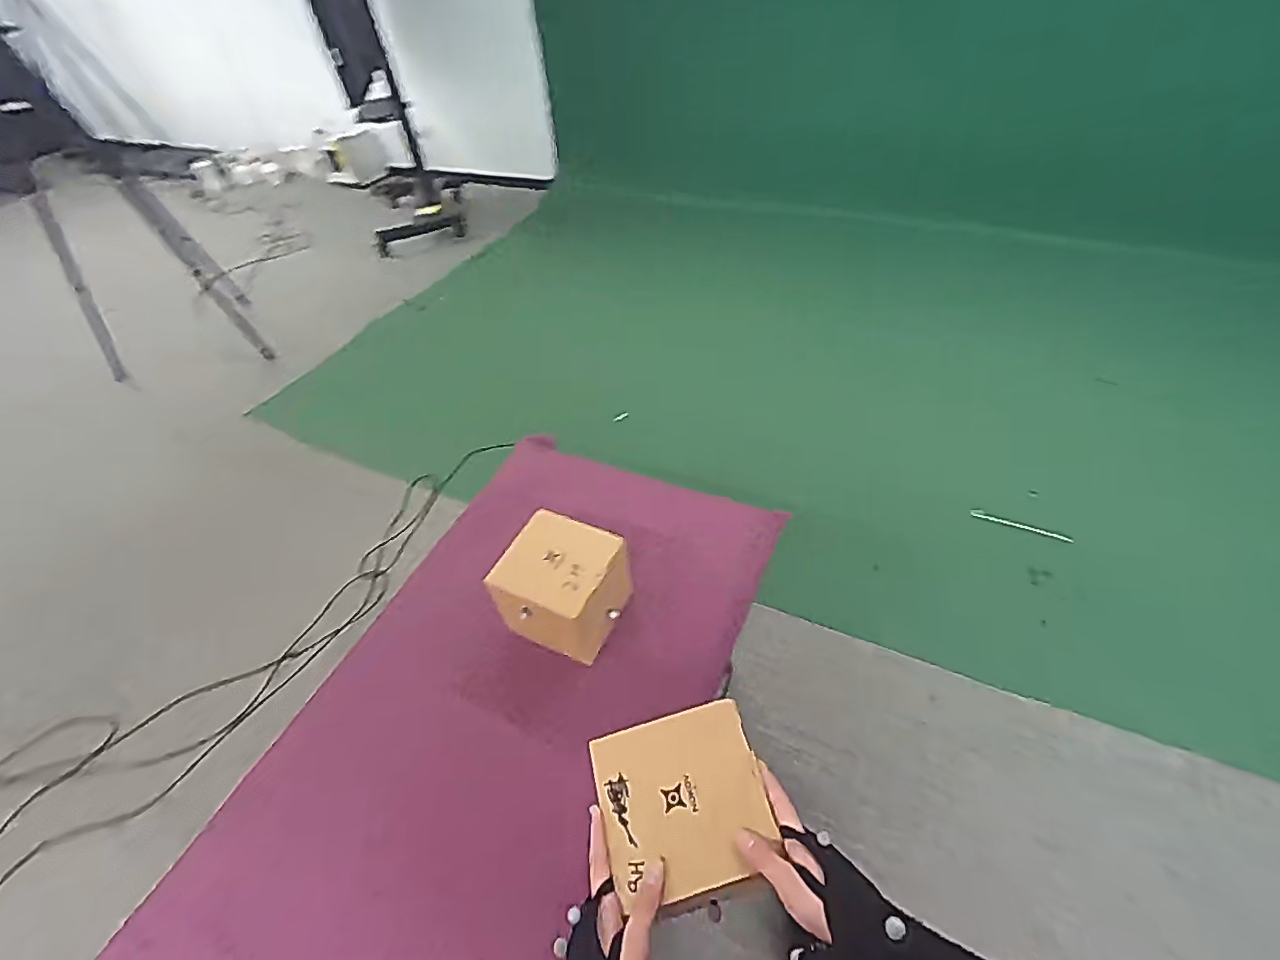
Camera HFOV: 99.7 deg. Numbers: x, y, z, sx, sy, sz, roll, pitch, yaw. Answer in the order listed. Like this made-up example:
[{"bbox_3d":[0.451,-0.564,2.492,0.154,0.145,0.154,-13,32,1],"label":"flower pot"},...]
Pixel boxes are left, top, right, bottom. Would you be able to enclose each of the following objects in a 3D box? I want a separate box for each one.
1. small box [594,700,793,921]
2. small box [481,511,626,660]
[{"bbox_3d":[0.057,0.382,0.623,0.179,0.176,0.168,-15,47,-3],"label":"small box"},{"bbox_3d":[-0.141,0.188,0.947,0.179,0.176,0.168,18,52,20],"label":"small box"}]
